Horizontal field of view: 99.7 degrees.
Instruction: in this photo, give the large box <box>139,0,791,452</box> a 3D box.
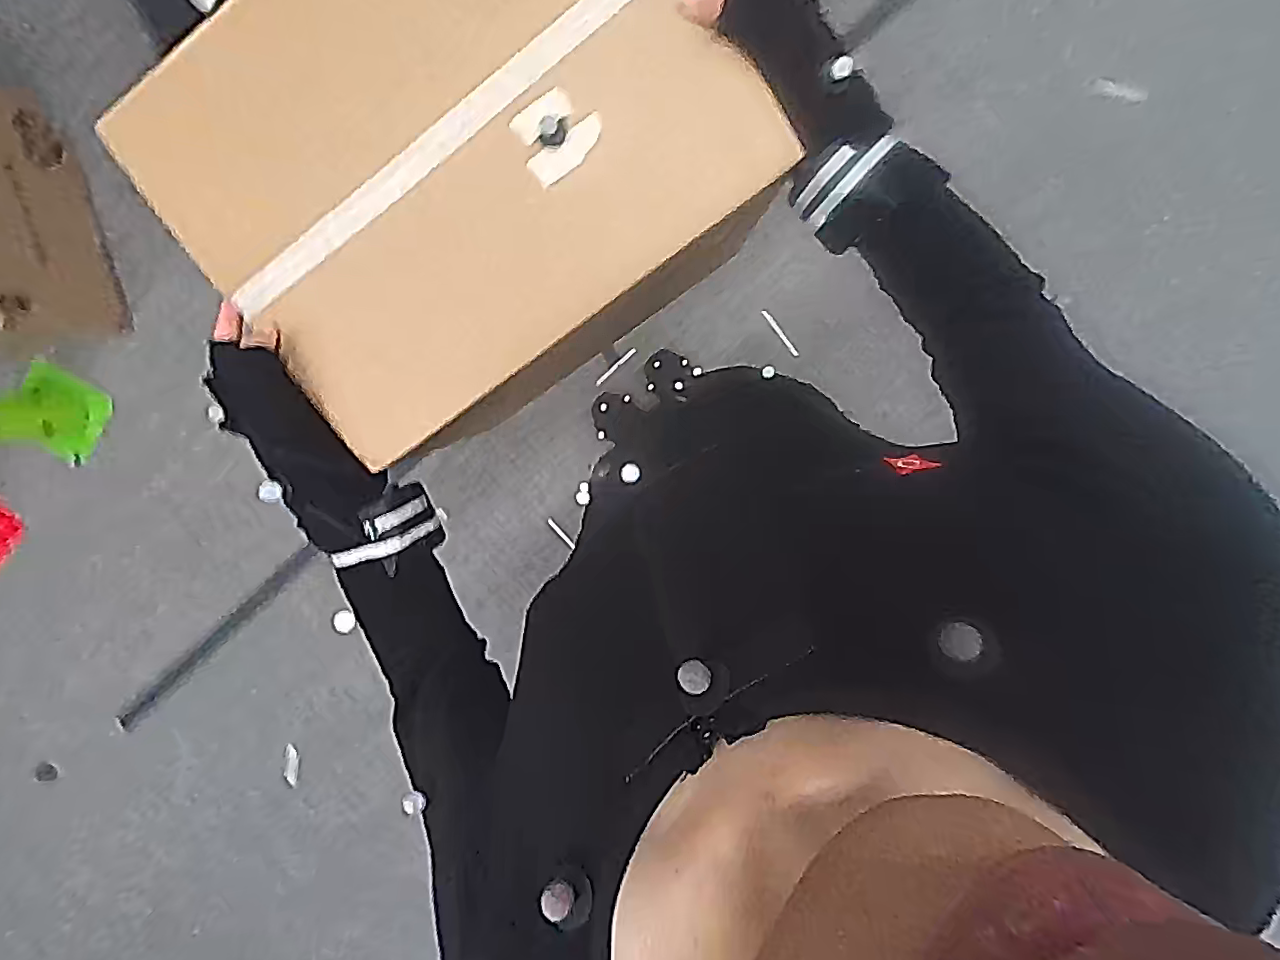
[{"bbox_3d":[-0.130,-0.277,0.546,0.408,0.320,0.320,-34,98,7],"label":"large box"}]
